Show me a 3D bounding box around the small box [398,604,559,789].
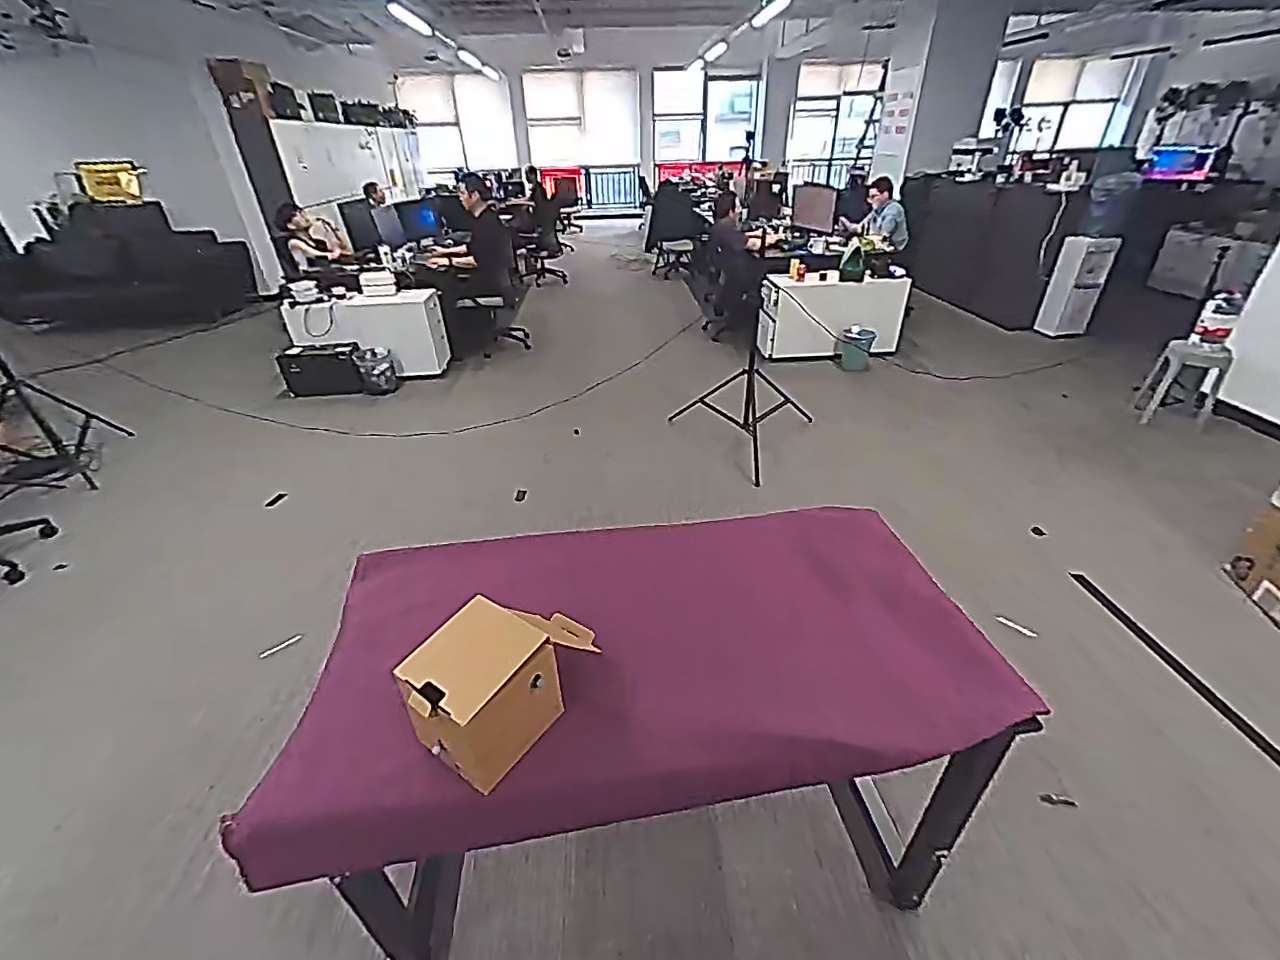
[{"bbox_3d":[-0.245,0.338,0.861,0.168,0.176,0.179,18,37,31],"label":"small box"}]
